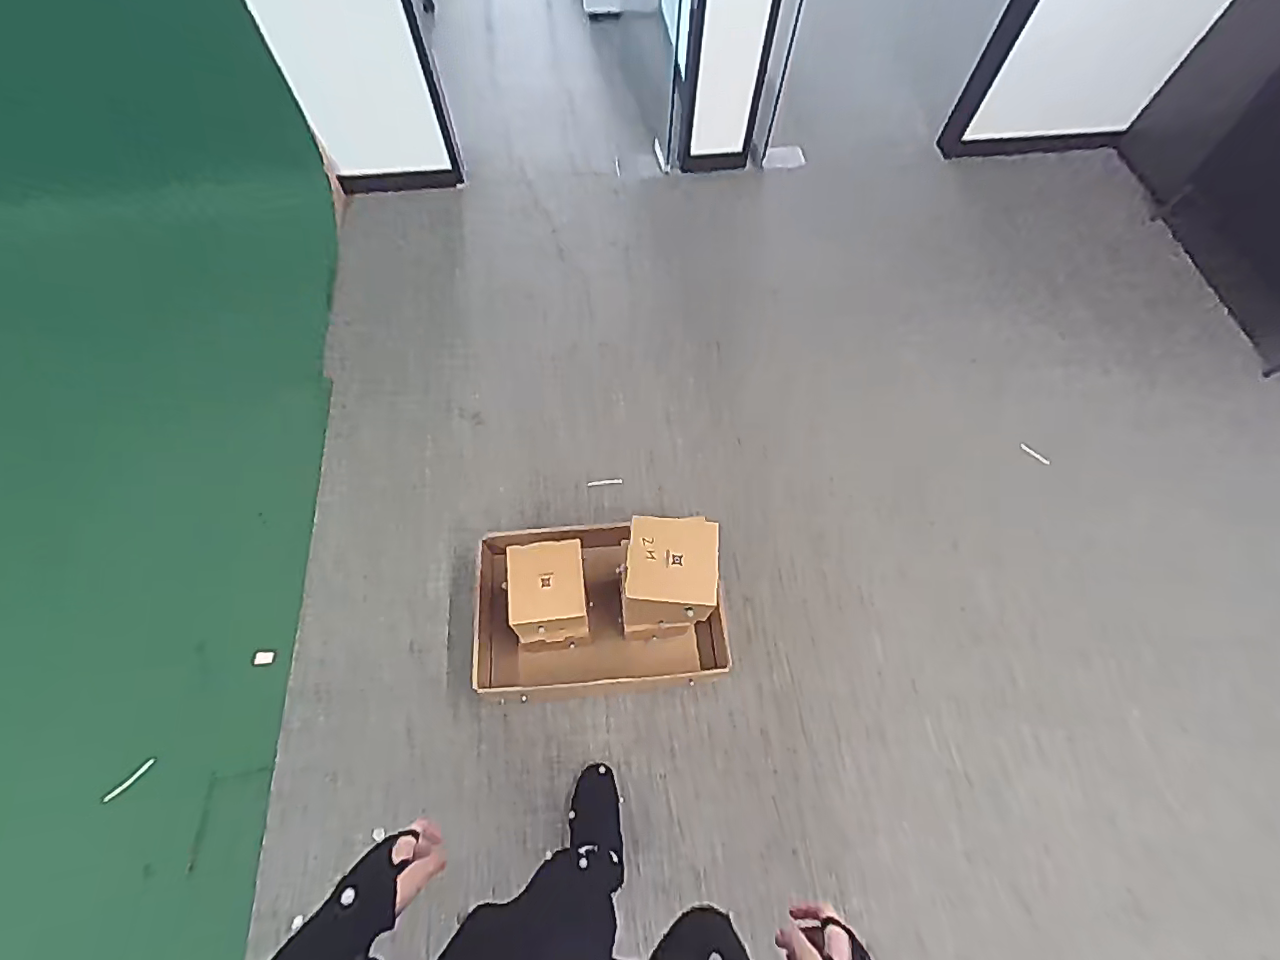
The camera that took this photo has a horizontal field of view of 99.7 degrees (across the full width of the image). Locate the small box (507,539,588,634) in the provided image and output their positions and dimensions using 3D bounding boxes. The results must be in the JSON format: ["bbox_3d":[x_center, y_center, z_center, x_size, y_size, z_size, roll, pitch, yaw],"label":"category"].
[{"bbox_3d":[-0.209,0.252,1.249,0.168,0.176,0.179,-5,65,-6],"label":"small box"}]

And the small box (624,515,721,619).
[{"bbox_3d":[0.062,0.183,1.103,0.179,0.176,0.168,5,65,1],"label":"small box"}]

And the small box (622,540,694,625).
[{"bbox_3d":[0.047,0.241,1.258,0.179,0.176,0.168,-2,65,-2],"label":"small box"}]
